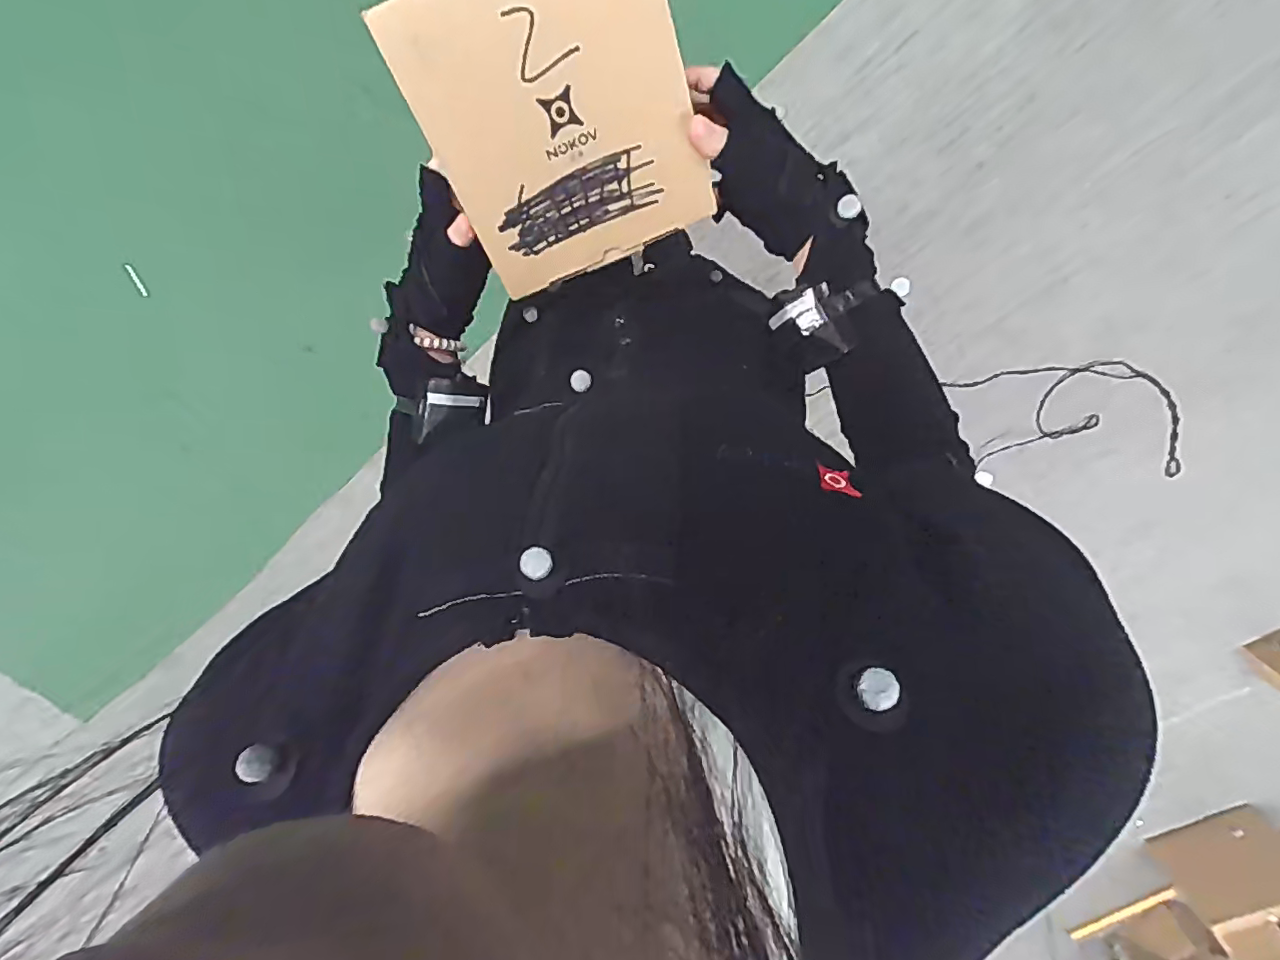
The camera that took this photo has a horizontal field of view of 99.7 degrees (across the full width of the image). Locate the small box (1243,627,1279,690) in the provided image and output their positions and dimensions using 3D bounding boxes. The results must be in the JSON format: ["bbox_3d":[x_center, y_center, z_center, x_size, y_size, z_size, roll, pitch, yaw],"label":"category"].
[{"bbox_3d":[2.100,0.587,1.714,0.168,0.176,0.179,-39,110,19],"label":"small box"}]
